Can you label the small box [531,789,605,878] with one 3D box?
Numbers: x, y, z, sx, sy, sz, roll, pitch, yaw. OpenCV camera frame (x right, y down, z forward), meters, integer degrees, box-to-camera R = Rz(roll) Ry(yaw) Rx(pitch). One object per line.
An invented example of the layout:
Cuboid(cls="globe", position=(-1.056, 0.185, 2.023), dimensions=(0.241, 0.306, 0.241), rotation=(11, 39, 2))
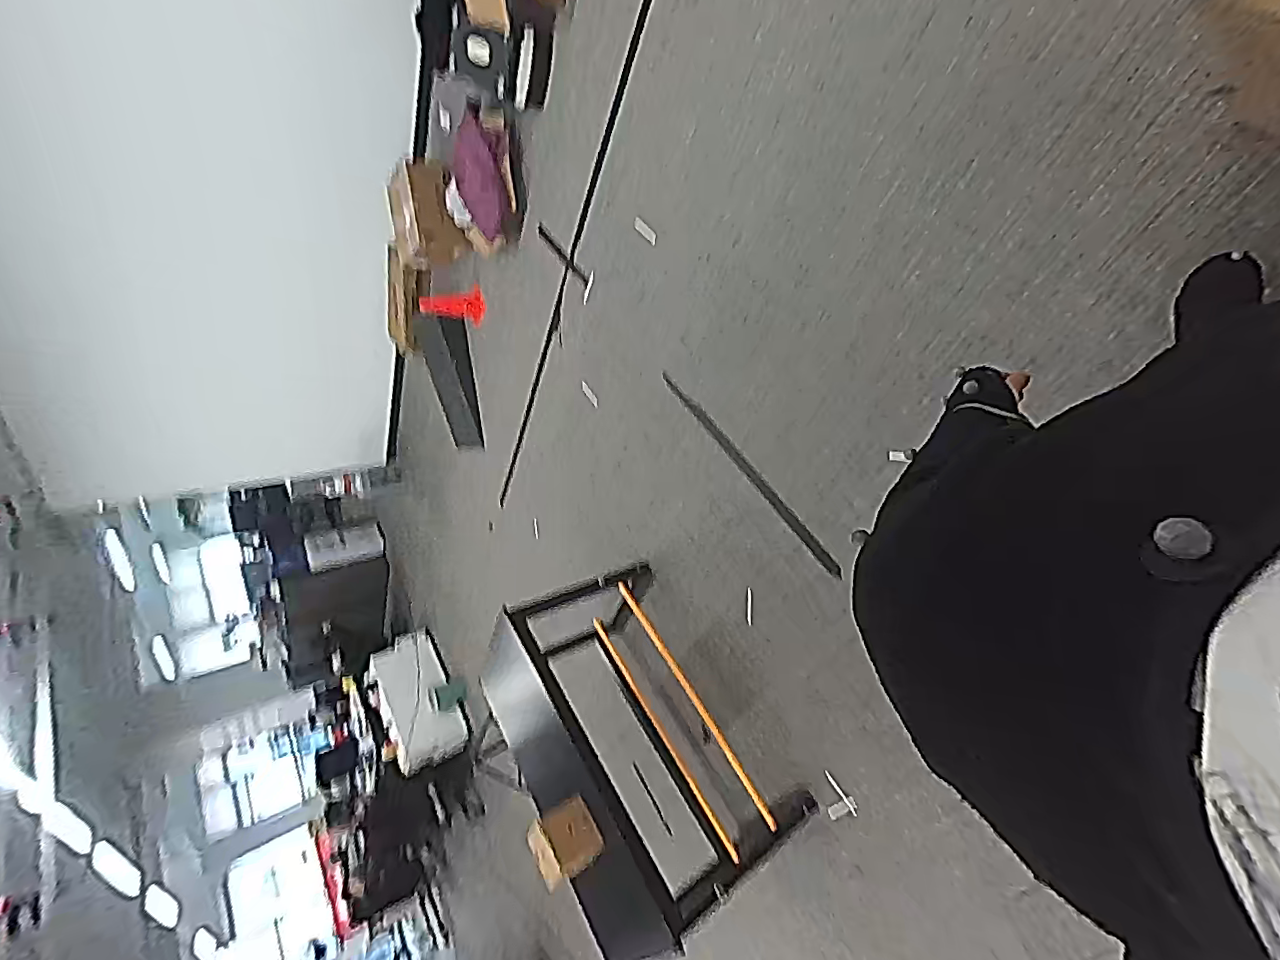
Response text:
Cuboid(cls="small box", position=(-0.239, 1.182, 1.817), dimensions=(0.168, 0.176, 0.179), rotation=(49, 134, 31))
